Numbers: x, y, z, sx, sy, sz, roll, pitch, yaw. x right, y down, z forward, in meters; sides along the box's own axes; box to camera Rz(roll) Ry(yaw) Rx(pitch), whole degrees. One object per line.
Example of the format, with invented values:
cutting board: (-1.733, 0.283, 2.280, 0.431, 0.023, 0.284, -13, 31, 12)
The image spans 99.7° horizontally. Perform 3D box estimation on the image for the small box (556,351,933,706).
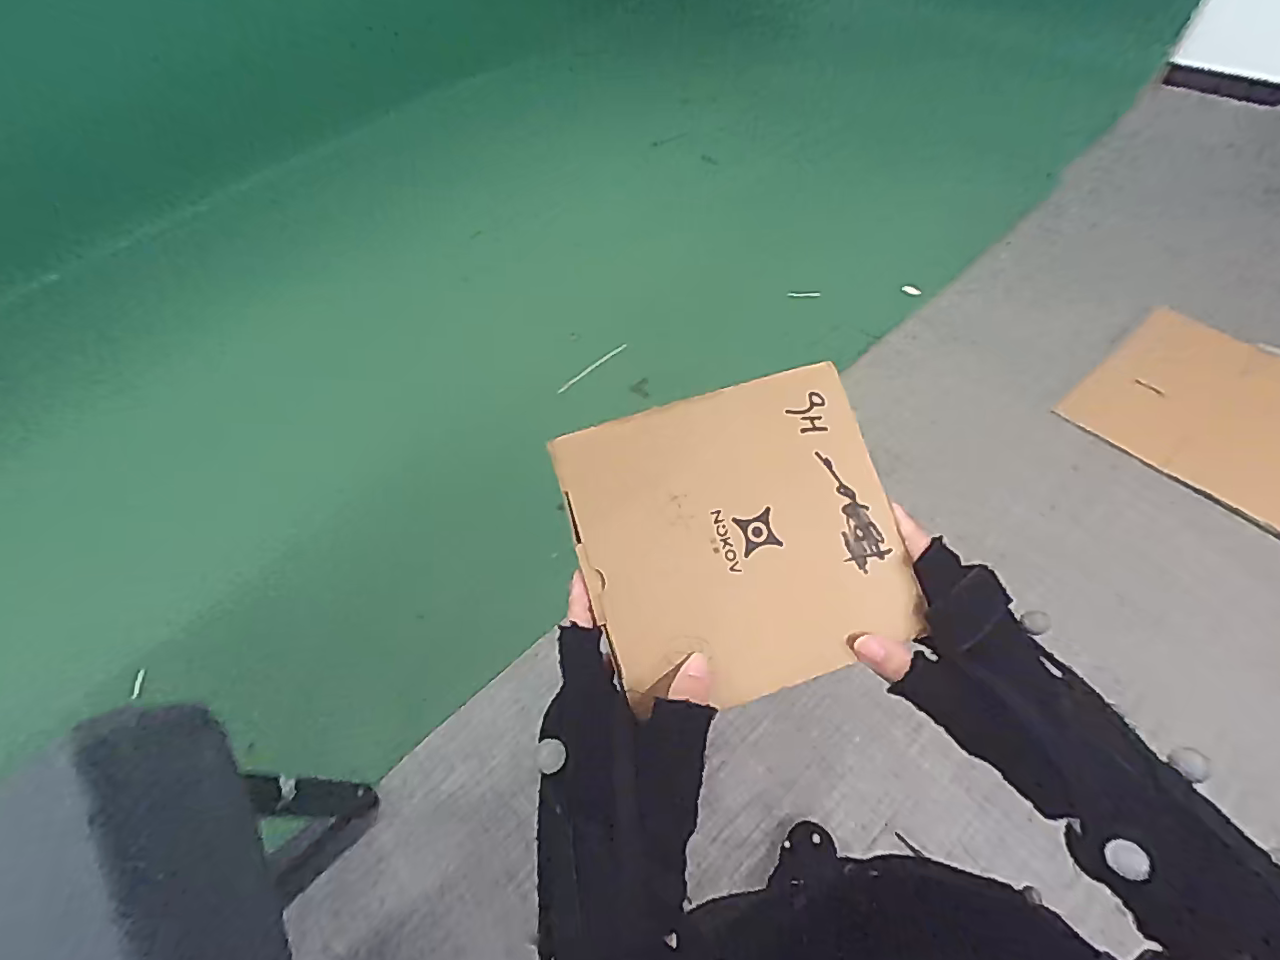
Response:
small box: (0.054, 0.039, 0.386, 0.179, 0.176, 0.168, -19, 78, -8)
